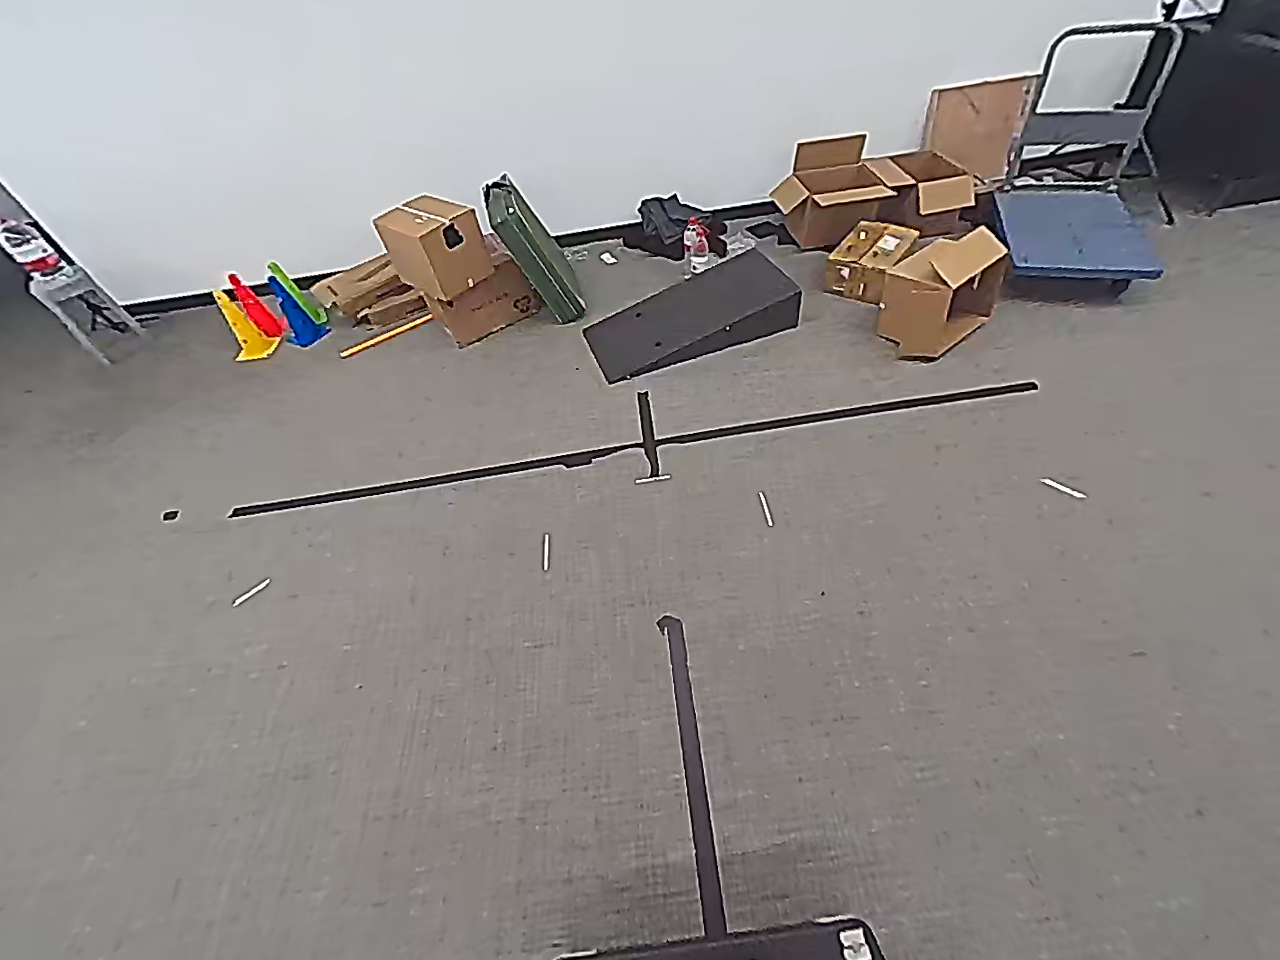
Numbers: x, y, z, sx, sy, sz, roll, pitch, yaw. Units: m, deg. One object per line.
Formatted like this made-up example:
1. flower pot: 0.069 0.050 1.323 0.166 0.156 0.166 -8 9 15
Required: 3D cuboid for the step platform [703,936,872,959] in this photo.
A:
1. step platform: 0.142 1.086 1.013 0.684 0.204 0.286 -9 48 0
